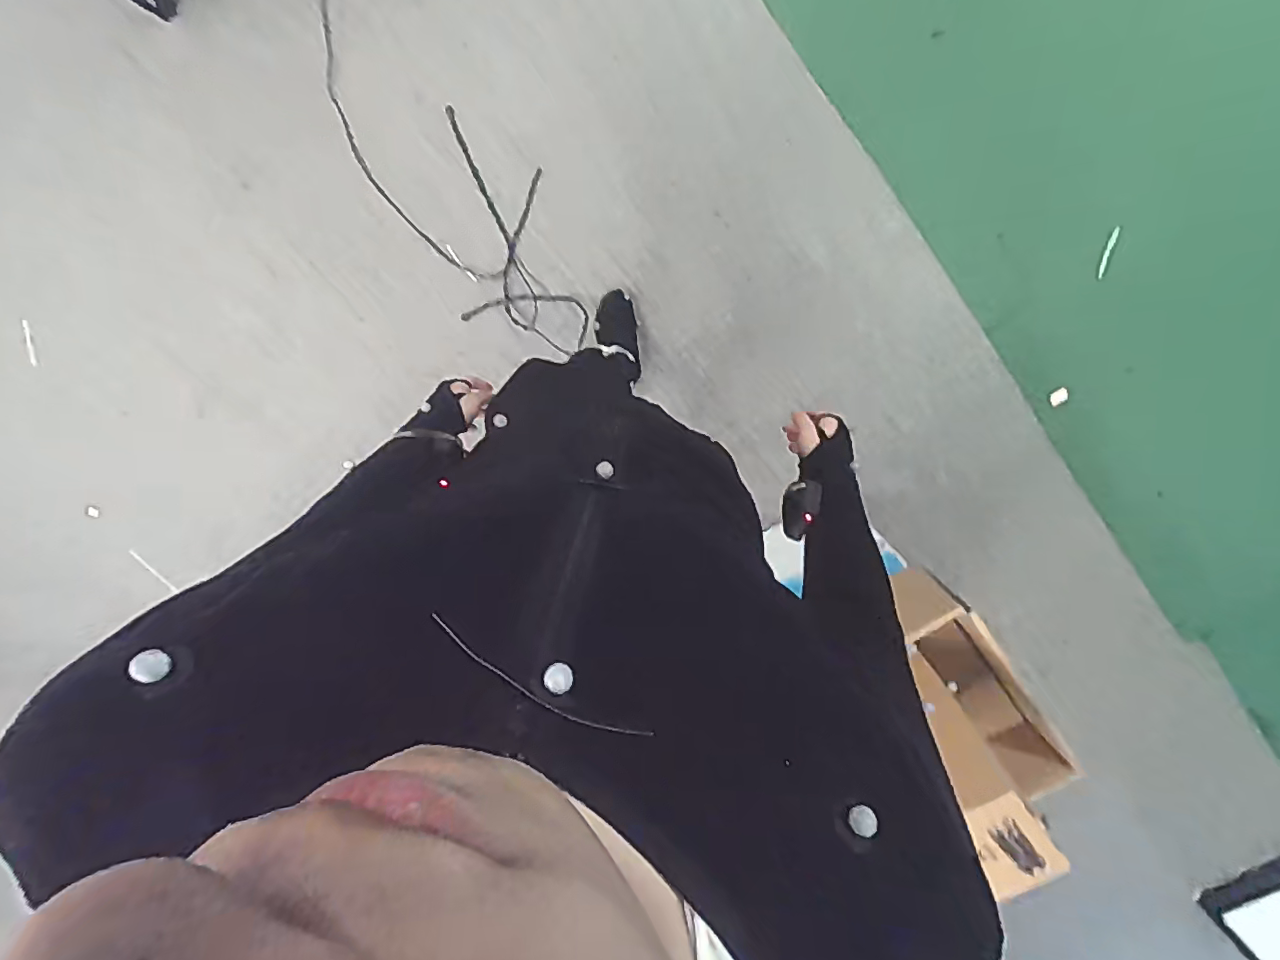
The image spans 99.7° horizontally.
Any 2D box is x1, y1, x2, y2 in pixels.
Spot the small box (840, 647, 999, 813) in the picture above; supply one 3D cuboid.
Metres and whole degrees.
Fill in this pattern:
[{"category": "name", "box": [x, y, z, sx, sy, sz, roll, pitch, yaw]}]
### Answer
[{"category": "small box", "box": [0.481, 0.437, 0.965, 0.179, 0.176, 0.168, -35, 102, 14]}]
